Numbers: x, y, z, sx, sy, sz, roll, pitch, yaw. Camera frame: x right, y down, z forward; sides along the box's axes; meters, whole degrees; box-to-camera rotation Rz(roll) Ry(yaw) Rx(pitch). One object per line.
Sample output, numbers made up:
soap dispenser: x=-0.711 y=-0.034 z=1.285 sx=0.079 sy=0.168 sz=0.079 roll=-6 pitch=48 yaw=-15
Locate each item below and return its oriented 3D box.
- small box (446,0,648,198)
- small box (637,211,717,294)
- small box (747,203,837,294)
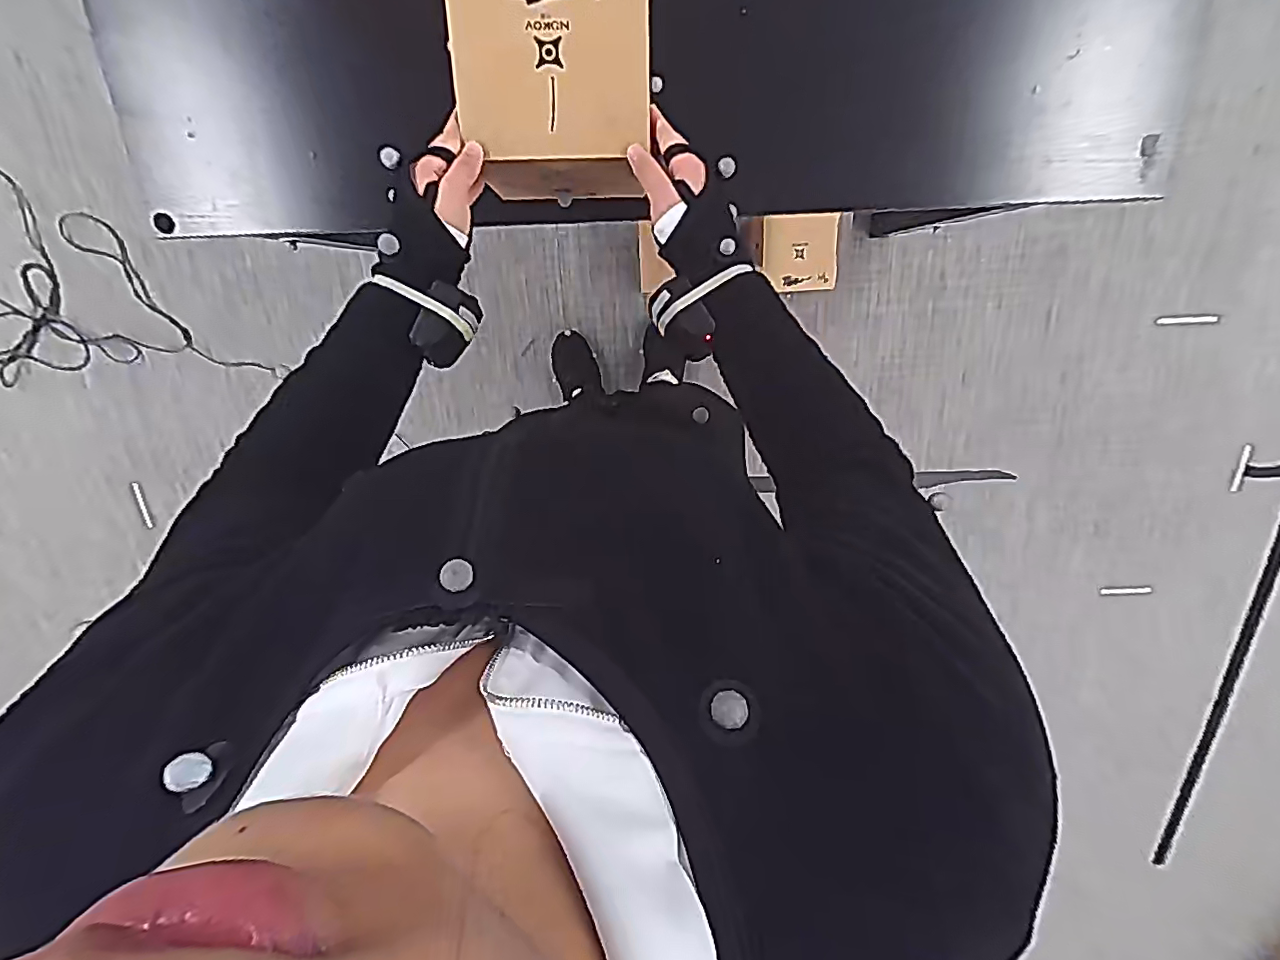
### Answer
small box: x=-0.078 y=-0.387 z=0.522 sx=0.168 sy=0.176 sz=0.179 roll=-2 pitch=107 yaw=-1
small box: x=0.082 y=-0.526 z=1.261 sx=0.179 sy=0.176 sz=0.168 roll=-2 pitch=109 yaw=2
small box: x=0.345 y=-0.531 z=1.257 sx=0.168 sy=0.176 sz=0.179 roll=-3 pitch=109 yaw=2
